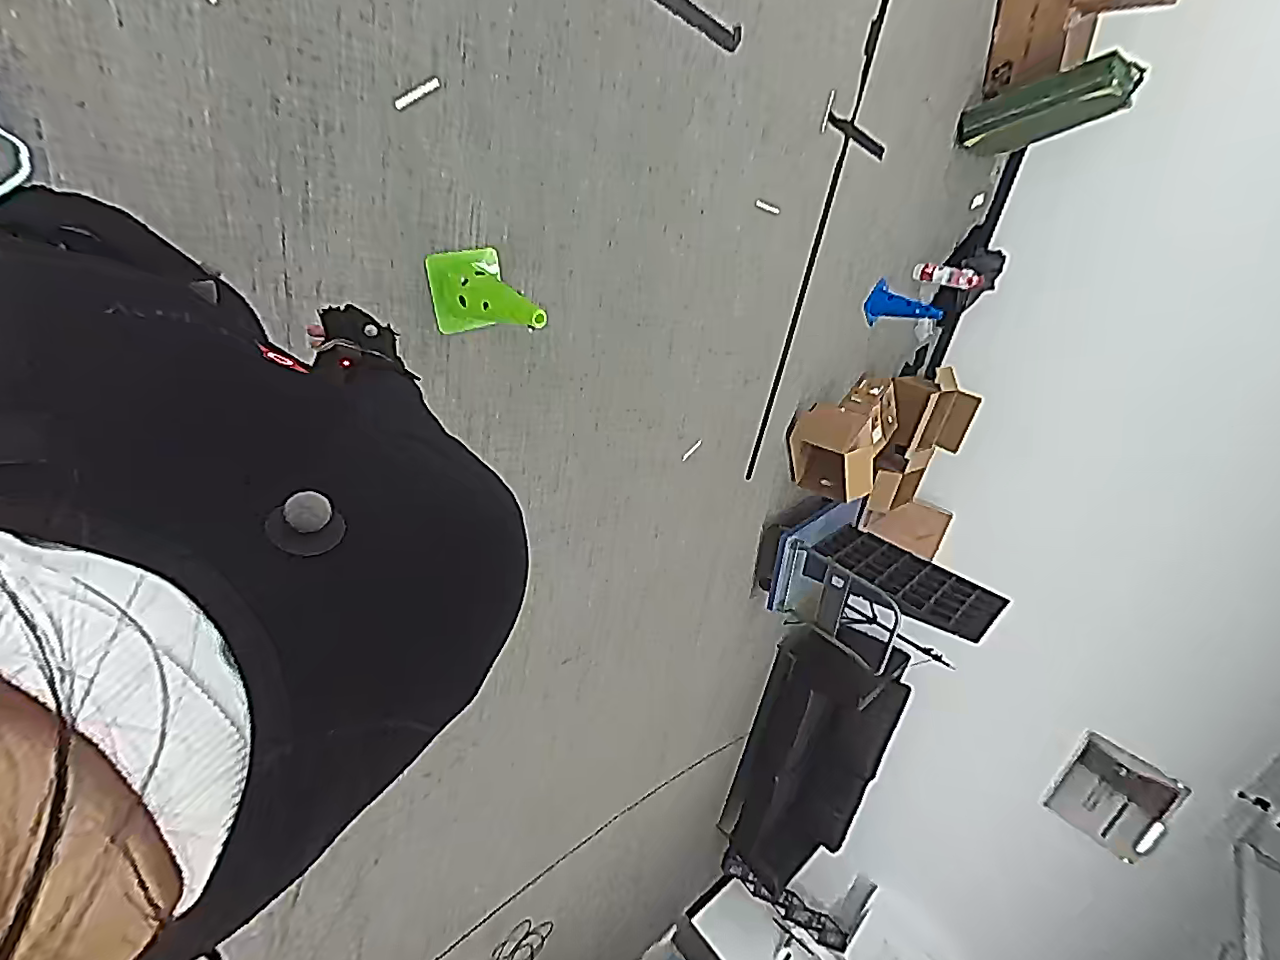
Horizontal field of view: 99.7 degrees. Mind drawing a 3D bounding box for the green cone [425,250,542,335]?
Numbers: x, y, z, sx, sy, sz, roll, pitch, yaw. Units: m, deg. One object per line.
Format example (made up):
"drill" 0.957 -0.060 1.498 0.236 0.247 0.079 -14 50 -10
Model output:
"green cone" -0.348 -0.432 1.326 0.202 0.368 0.200 -25 129 -33
